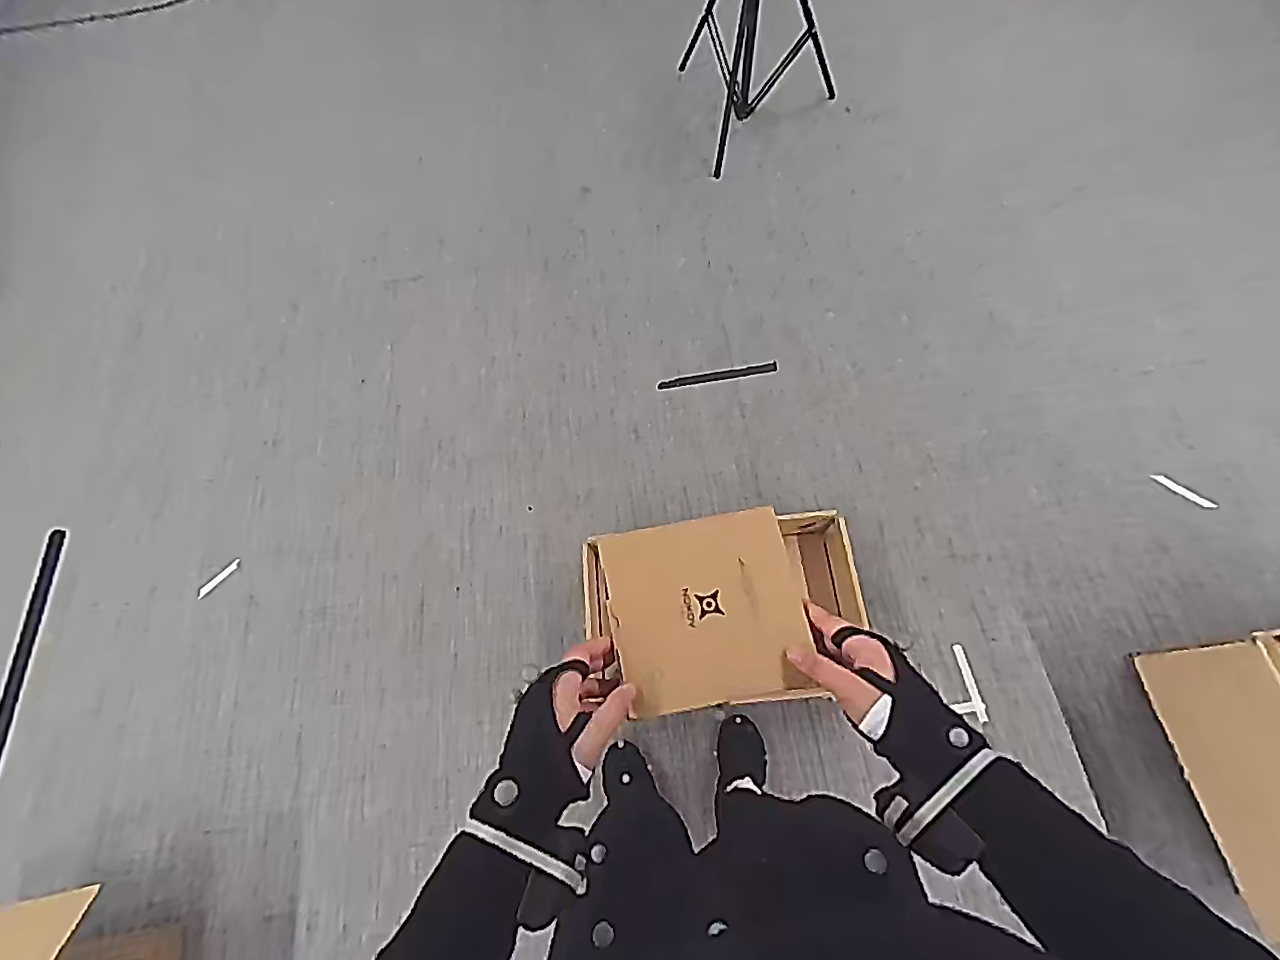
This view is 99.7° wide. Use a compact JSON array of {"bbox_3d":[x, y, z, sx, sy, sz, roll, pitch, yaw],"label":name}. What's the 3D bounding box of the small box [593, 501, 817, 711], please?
[{"bbox_3d":[0.056,0.140,0.565,0.179,0.176,0.168,-11,68,-4],"label":"small box"}]
